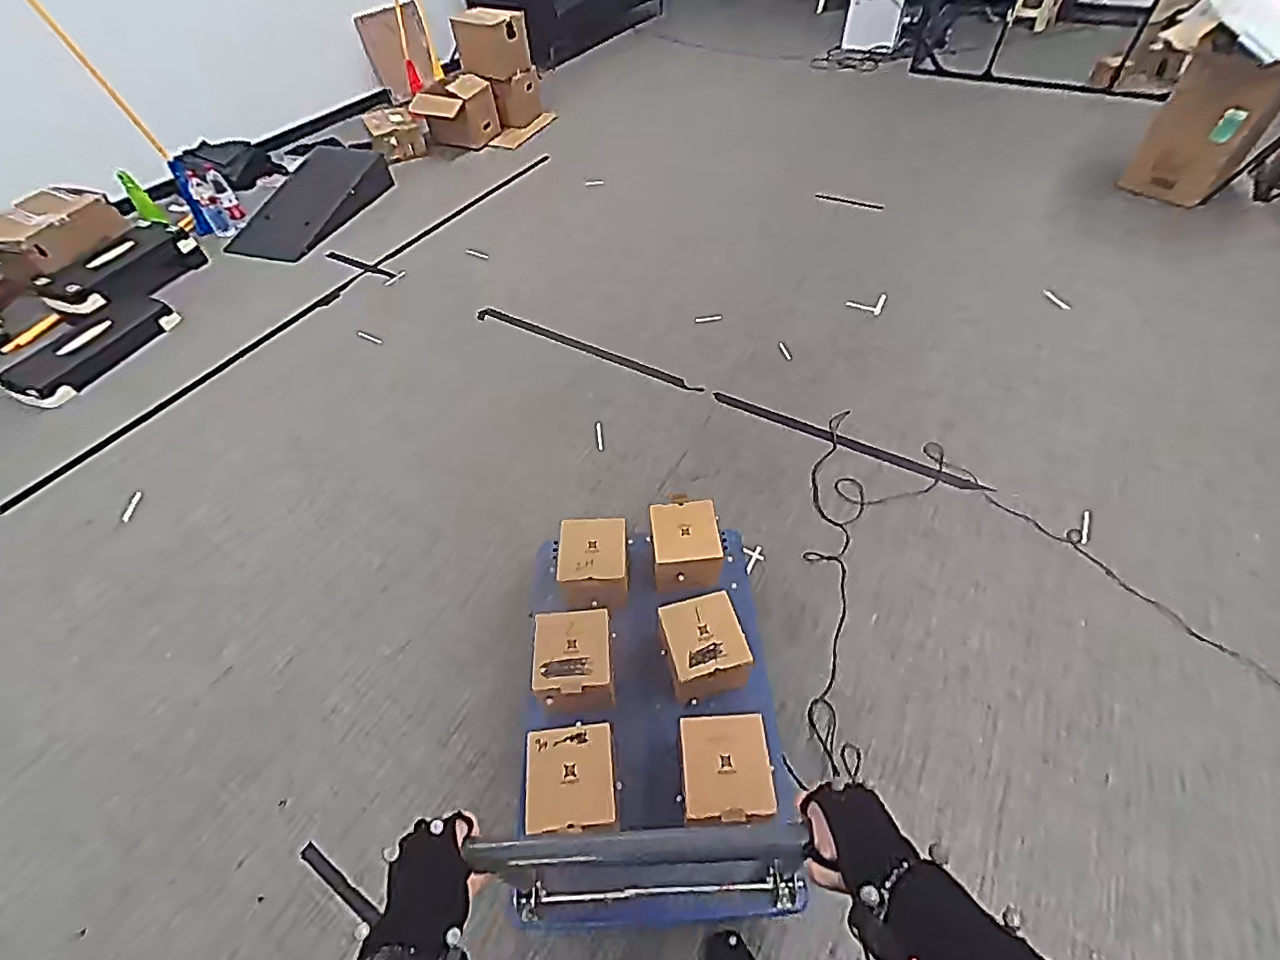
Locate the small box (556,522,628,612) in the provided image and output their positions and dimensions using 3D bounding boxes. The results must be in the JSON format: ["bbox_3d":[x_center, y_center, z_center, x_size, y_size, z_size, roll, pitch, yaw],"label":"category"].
[{"bbox_3d":[-0.117,0.226,1.397,0.168,0.176,0.179,-2,52,1],"label":"small box"}]

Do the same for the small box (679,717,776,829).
[{"bbox_3d":[0.167,0.595,1.090,0.168,0.176,0.179,-3,50,0],"label":"small box"}]

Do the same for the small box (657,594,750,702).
[{"bbox_3d":[0.141,0.395,1.251,0.168,0.176,0.179,-12,51,-7],"label":"small box"}]

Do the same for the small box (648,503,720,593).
[{"bbox_3d":[0.113,0.185,1.422,0.168,0.176,0.179,-6,51,-2],"label":"small box"}]

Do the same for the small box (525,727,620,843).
[{"bbox_3d":[-0.130,0.616,1.086,0.168,0.176,0.179,-5,52,-3],"label":"small box"}]
